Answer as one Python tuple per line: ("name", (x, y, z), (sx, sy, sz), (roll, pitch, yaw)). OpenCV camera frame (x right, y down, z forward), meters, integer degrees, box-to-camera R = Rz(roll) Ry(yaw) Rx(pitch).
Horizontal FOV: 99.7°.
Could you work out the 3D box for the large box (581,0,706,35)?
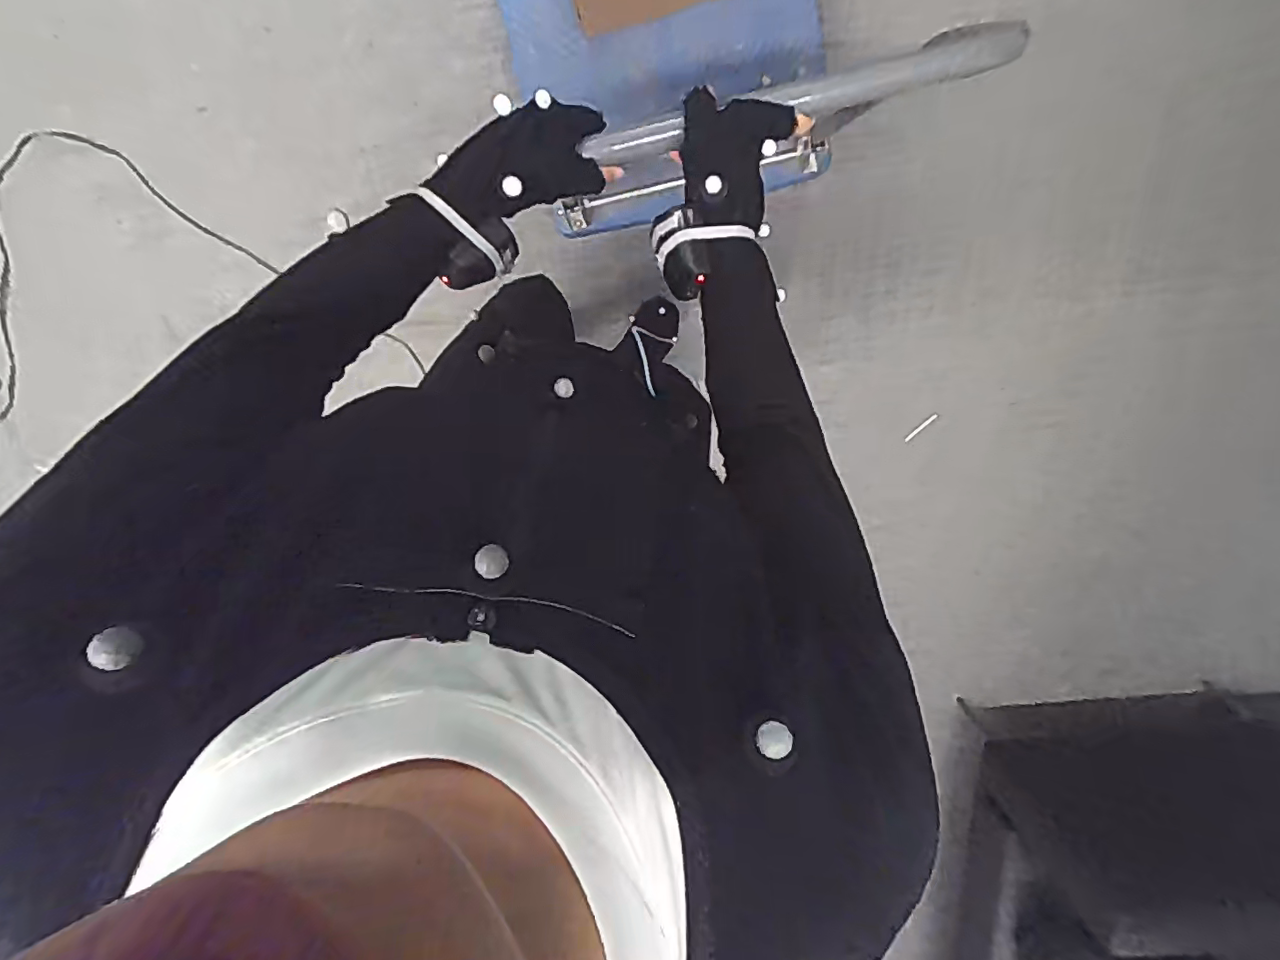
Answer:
("large box", (0.062, -0.962, 0.812), (0.408, 0.320, 0.320), (-13, 110, 6))
